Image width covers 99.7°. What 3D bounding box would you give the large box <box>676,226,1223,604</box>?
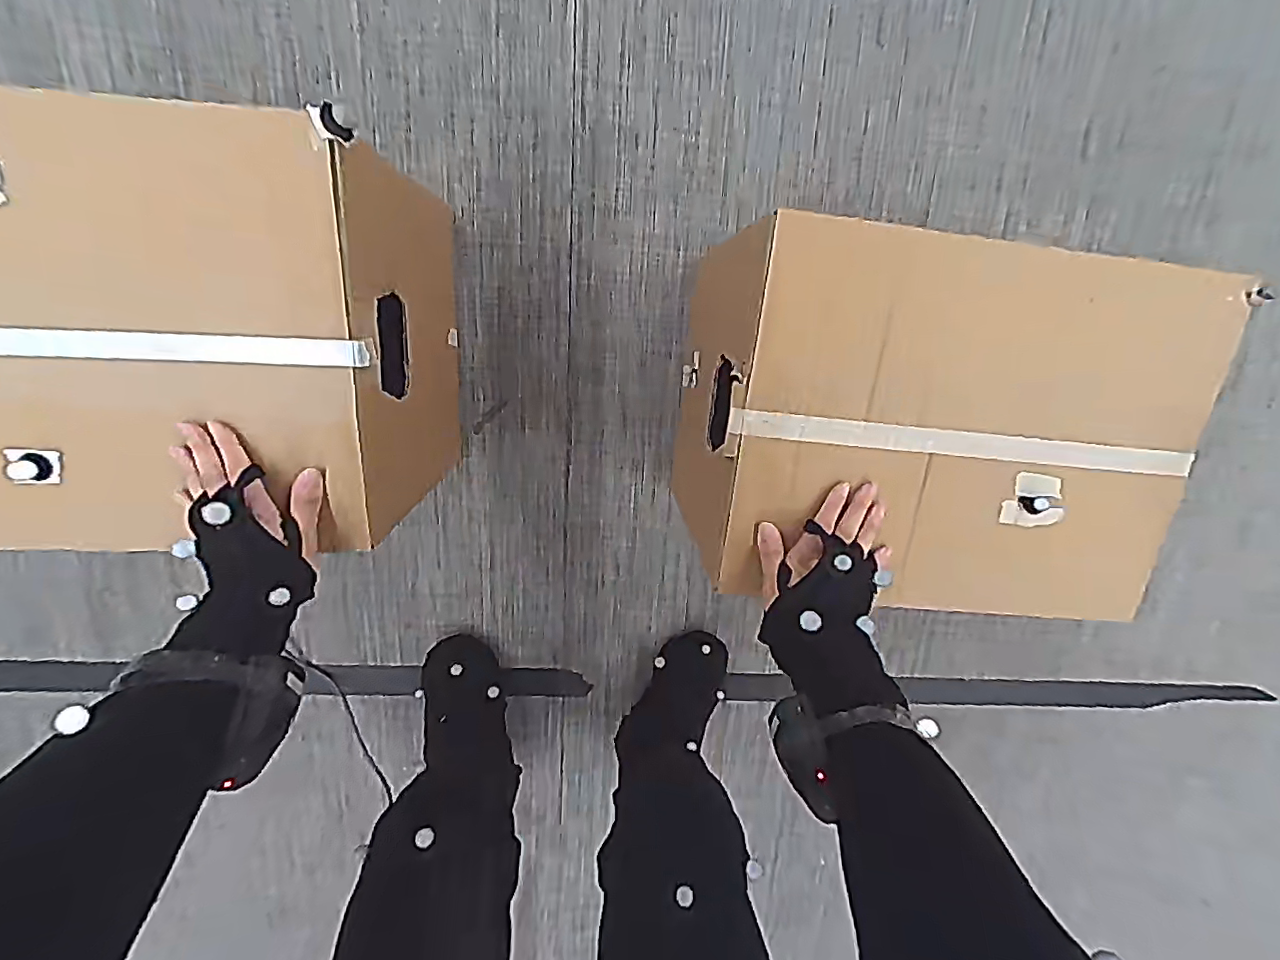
[{"bbox_3d":[0.271,-0.075,0.616,0.408,0.320,0.320,5,106,-7],"label":"large box"}]
